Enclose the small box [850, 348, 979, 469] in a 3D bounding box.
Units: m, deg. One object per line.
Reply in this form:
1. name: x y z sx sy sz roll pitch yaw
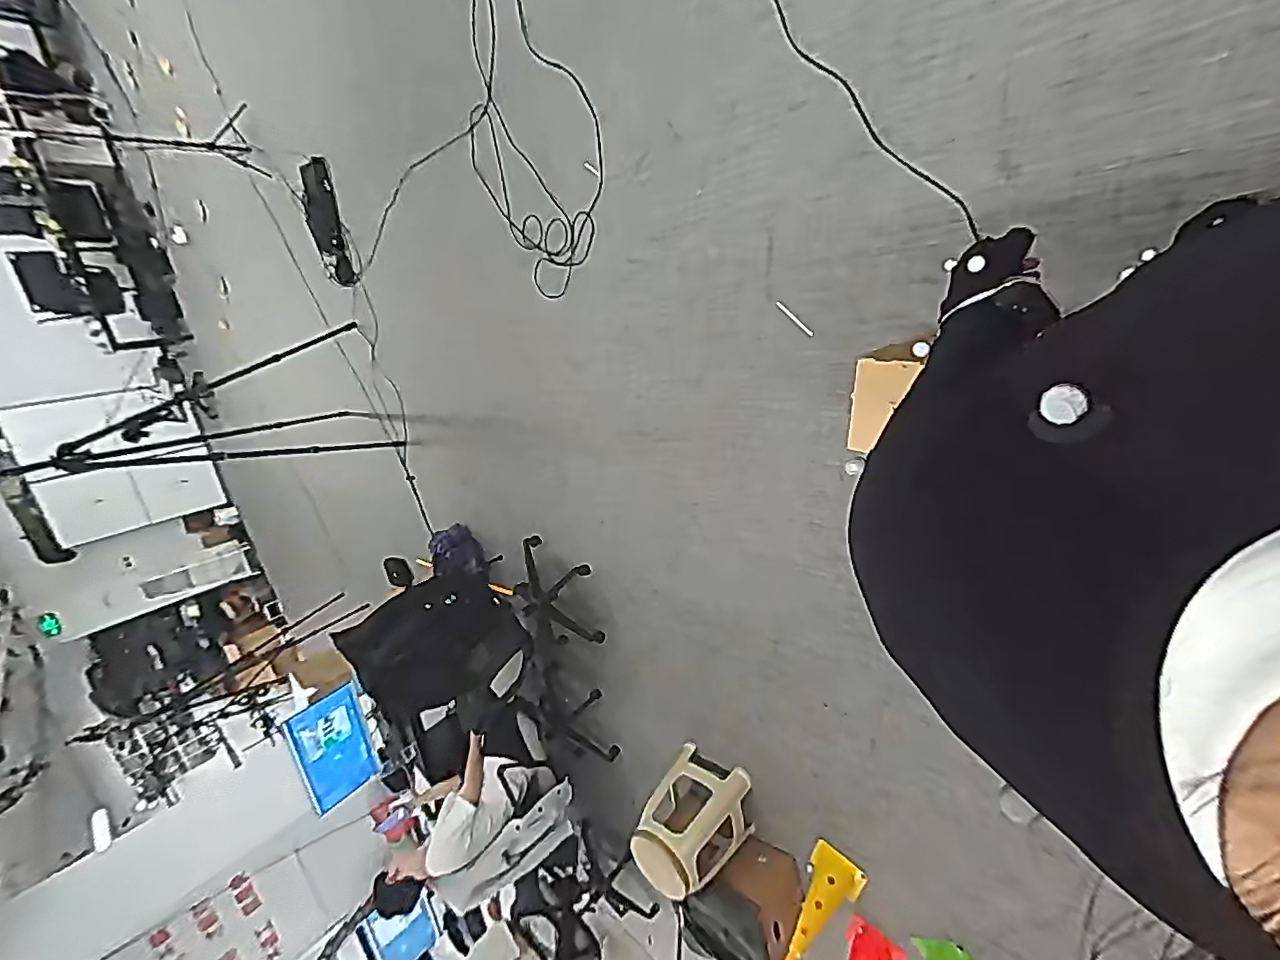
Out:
1. small box: 0.514 -0.141 1.014 0.168 0.176 0.179 17 118 38
